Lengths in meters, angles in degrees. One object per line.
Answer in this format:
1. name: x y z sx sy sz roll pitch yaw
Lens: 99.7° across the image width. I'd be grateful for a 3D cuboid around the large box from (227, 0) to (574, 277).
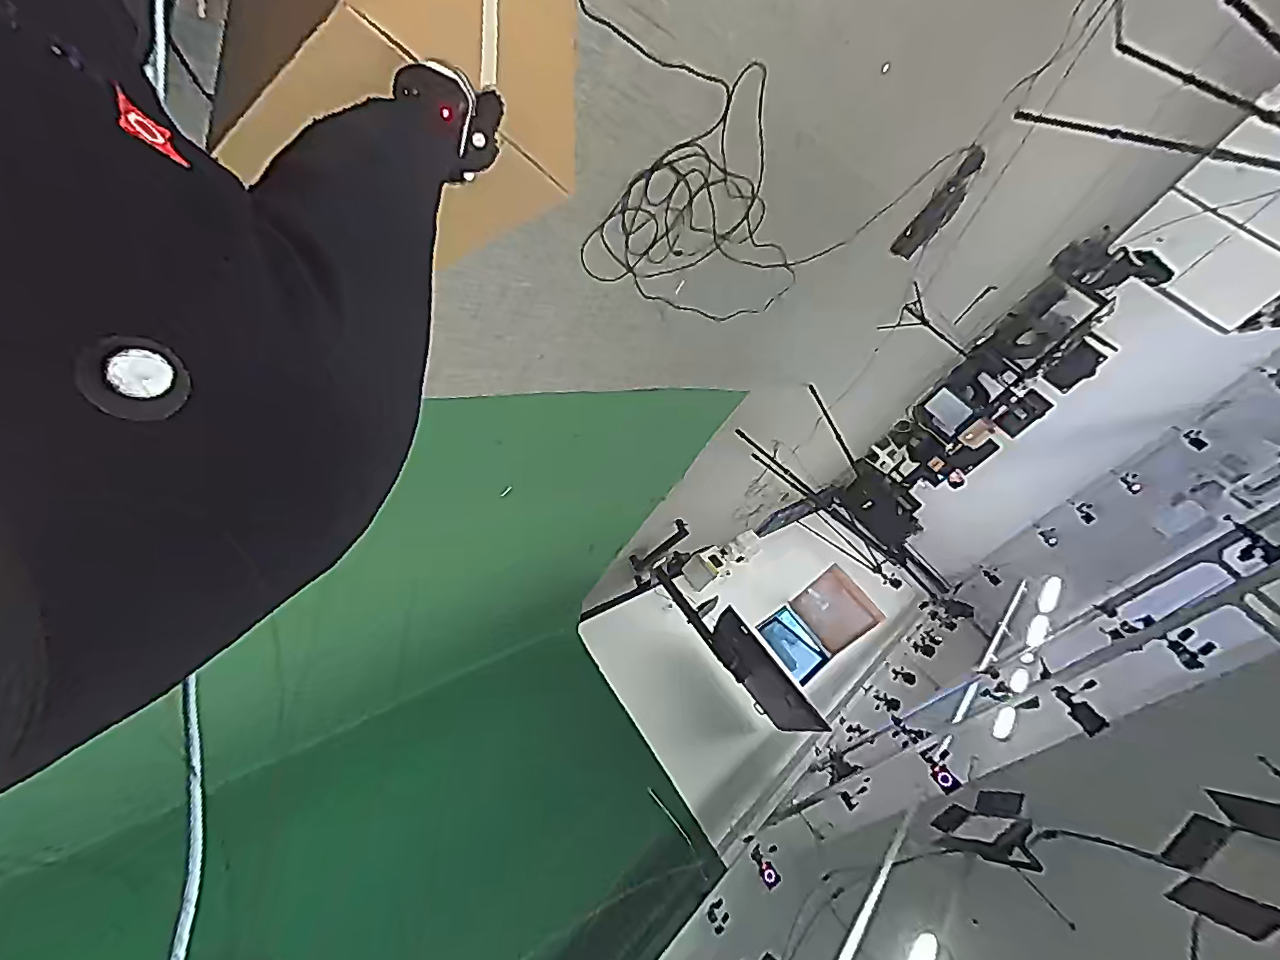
1. large box: -0.310 -0.565 0.733 0.320 0.408 0.320 -10 166 32
